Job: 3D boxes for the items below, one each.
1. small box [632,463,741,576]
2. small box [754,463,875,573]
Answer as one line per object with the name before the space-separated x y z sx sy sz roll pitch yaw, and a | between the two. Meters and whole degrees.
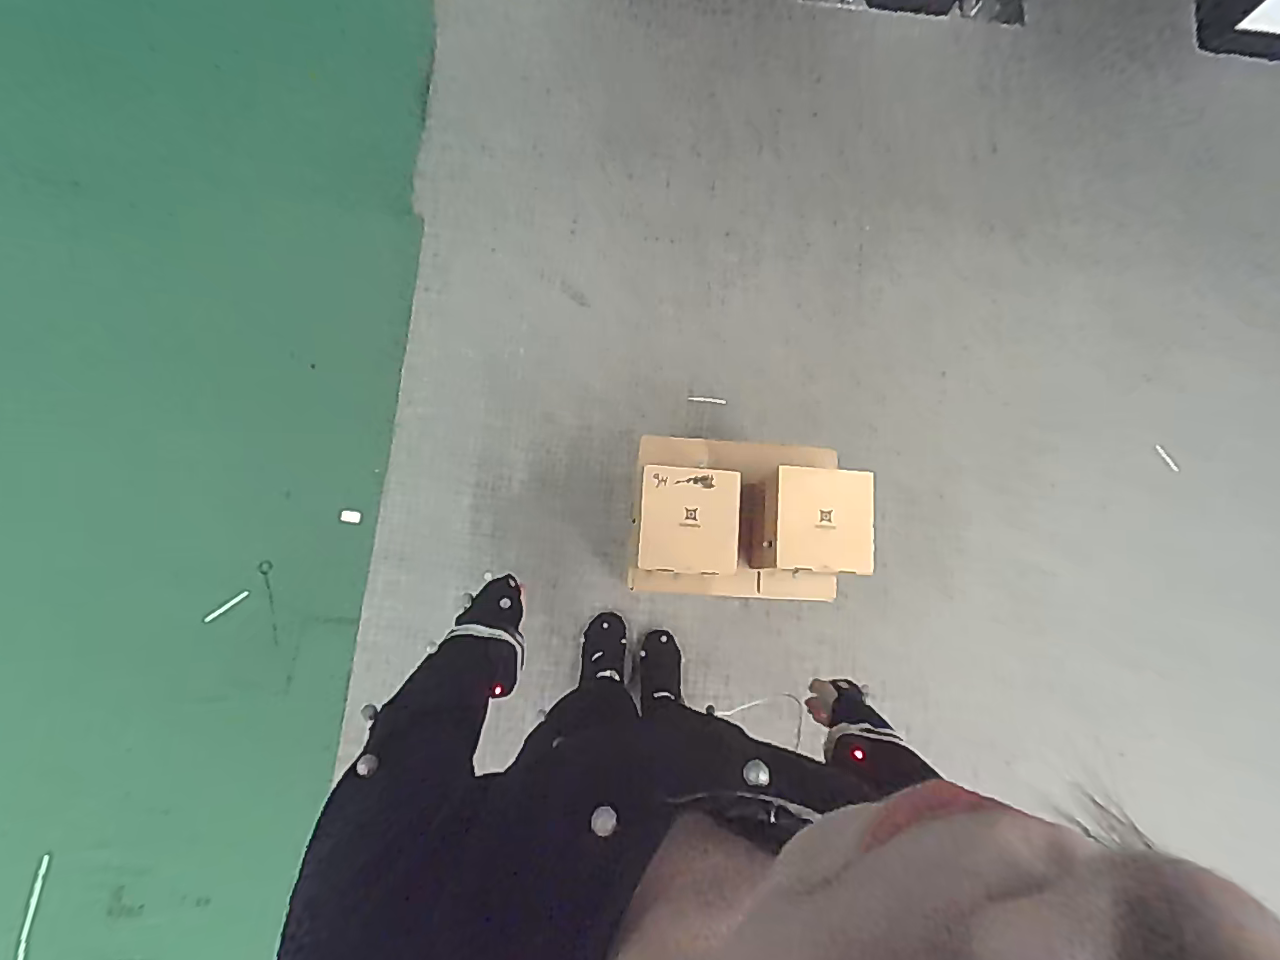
small box | 0.075 0.073 0.968 0.168 0.176 0.179 5 83 -4
small box | 0.307 0.076 0.980 0.168 0.176 0.179 4 81 -1
